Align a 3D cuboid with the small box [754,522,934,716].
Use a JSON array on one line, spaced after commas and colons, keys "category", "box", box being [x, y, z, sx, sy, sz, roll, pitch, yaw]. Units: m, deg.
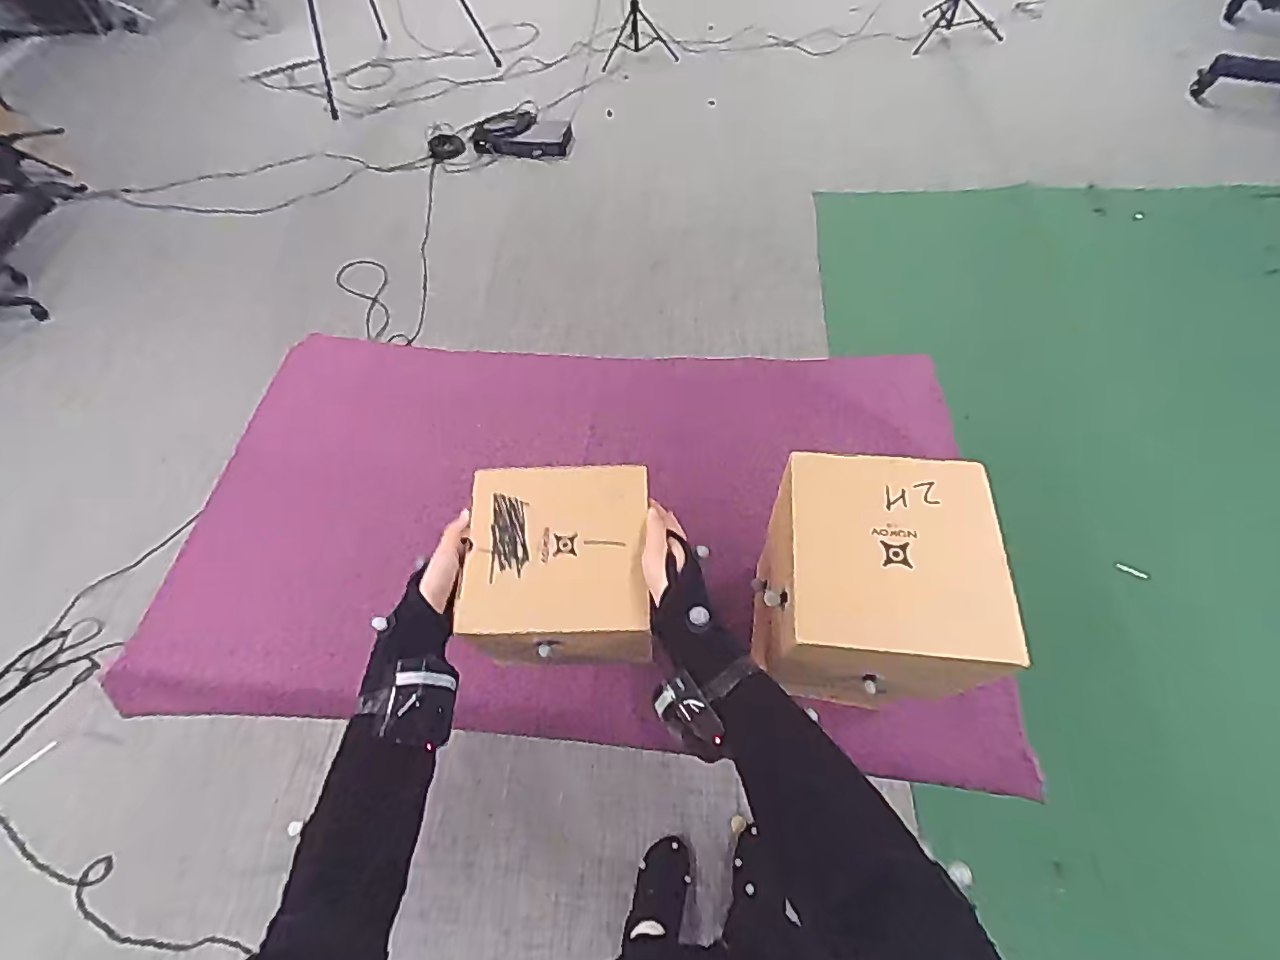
[{"category": "small box", "box": [0.232, 0.173, 0.652, 0.168, 0.176, 0.179, 7, 59, 9]}]
